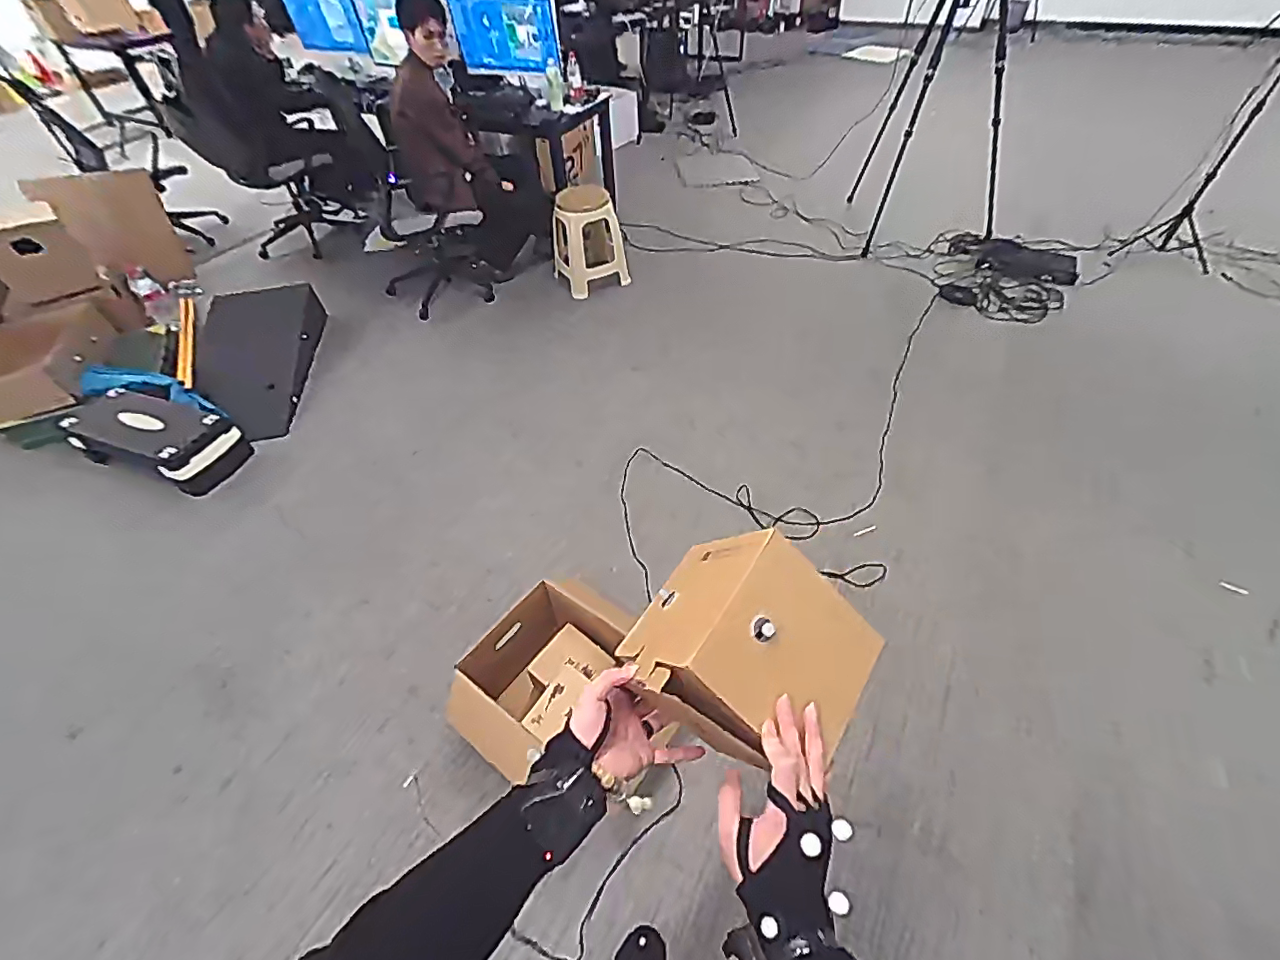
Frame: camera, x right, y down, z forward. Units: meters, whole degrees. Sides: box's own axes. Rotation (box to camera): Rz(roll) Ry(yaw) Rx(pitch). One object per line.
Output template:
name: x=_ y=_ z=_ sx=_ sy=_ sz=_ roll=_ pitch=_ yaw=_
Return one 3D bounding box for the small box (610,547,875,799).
small box: x=0.105 y=0.184 z=0.568 sx=0.179 sy=0.168 sz=0.176 roll=44 pitch=63 yaw=-9
